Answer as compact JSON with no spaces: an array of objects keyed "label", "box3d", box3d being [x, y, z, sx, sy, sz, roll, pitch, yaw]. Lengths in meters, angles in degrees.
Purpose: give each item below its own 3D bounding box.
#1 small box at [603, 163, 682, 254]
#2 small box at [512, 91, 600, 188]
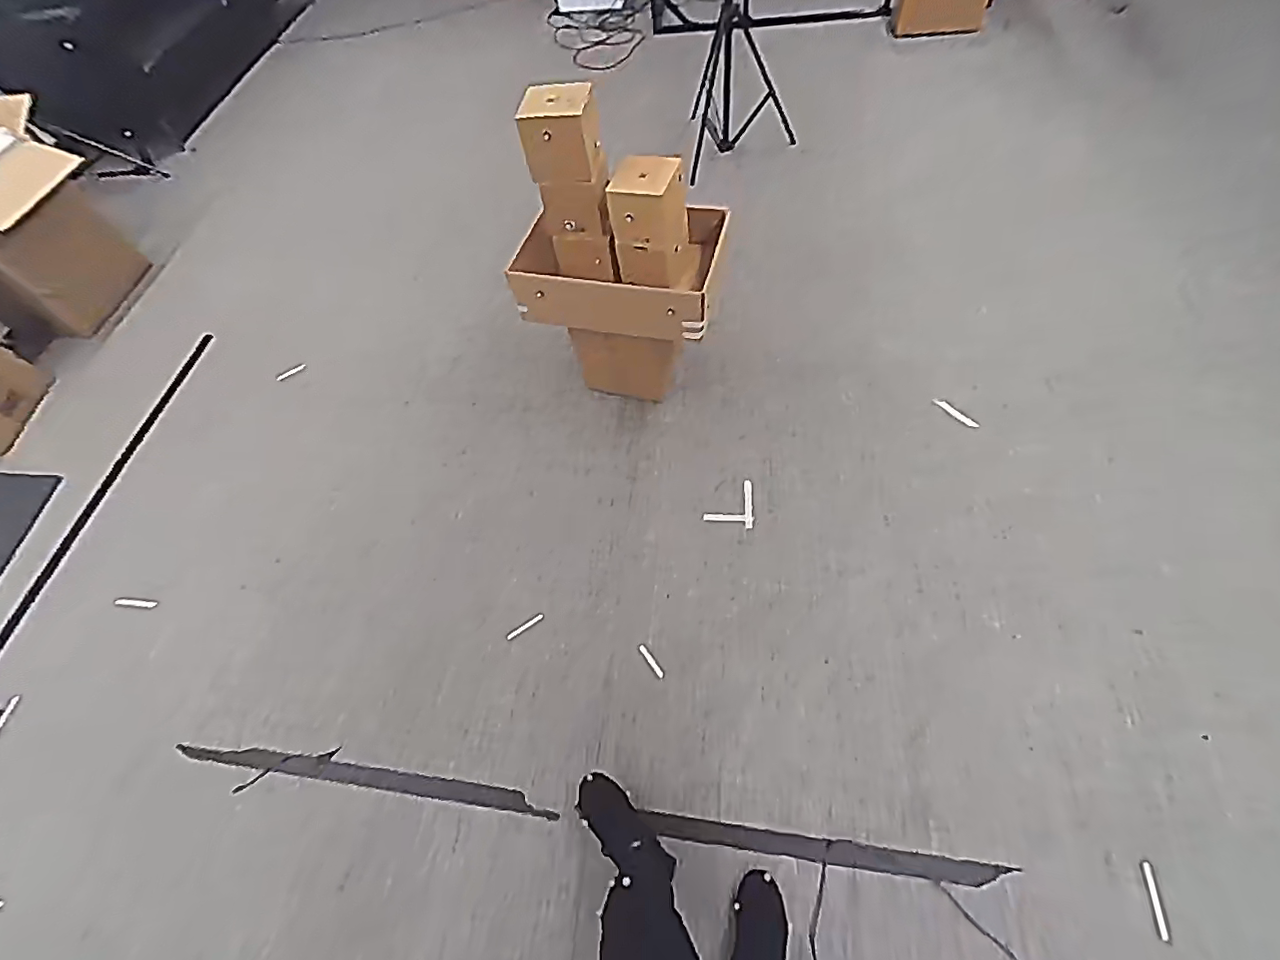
[{"label":"small box","box3d":[0.016,-0.764,1.527,0.168,0.176,0.179,13,61,16]},{"label":"small box","box3d":[-0.218,-0.907,1.450,0.179,0.176,0.168,4,60,9]}]
